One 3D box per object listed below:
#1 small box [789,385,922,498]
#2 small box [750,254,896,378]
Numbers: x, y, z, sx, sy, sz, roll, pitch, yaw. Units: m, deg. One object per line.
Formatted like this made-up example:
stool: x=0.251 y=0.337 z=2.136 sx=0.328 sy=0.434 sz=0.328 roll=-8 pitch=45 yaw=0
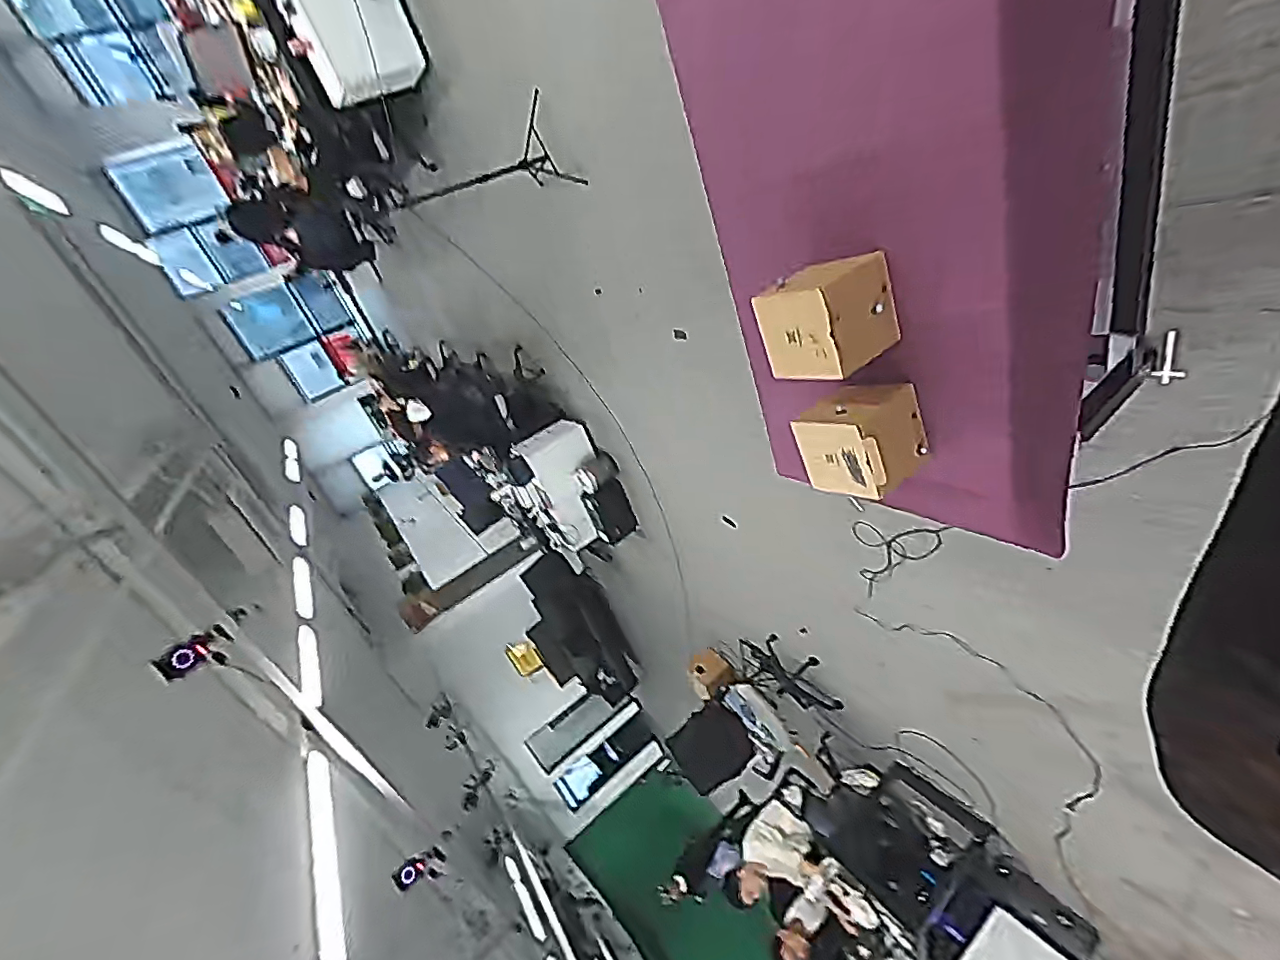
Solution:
small box: x=0.446 y=-0.085 z=1.103 sx=0.179 sy=0.176 sz=0.168 roll=14 pitch=133 yaw=61
small box: x=0.343 y=-0.303 z=1.014 sx=0.179 sy=0.176 sz=0.168 roll=18 pitch=137 yaw=57
